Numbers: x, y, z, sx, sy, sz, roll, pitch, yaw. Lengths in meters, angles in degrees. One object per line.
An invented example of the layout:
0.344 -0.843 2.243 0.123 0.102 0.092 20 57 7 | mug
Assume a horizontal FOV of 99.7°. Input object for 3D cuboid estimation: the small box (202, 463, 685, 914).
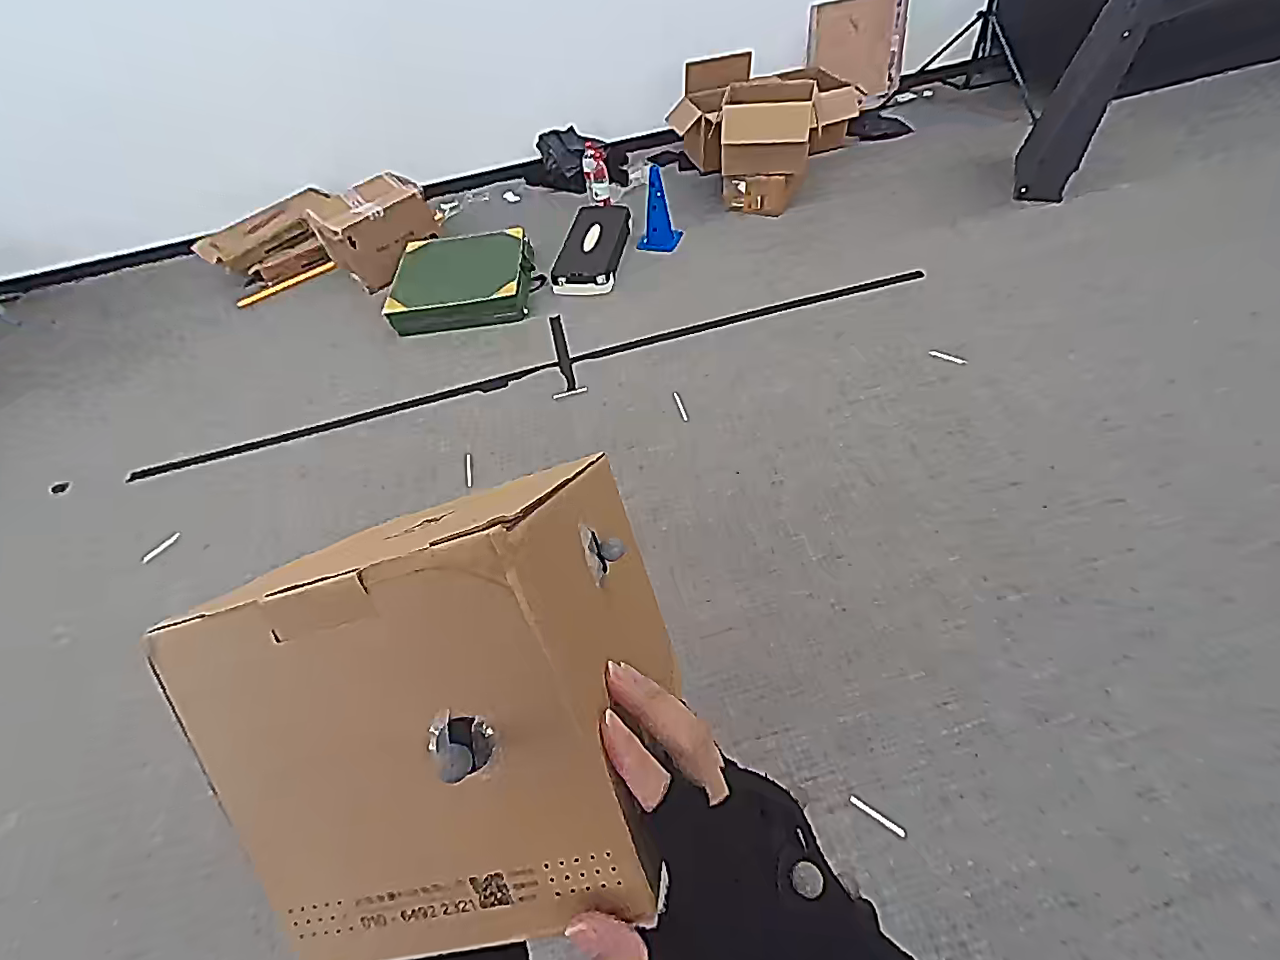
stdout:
-0.079 0.106 0.312 0.168 0.176 0.179 -17 7 11 | small box
